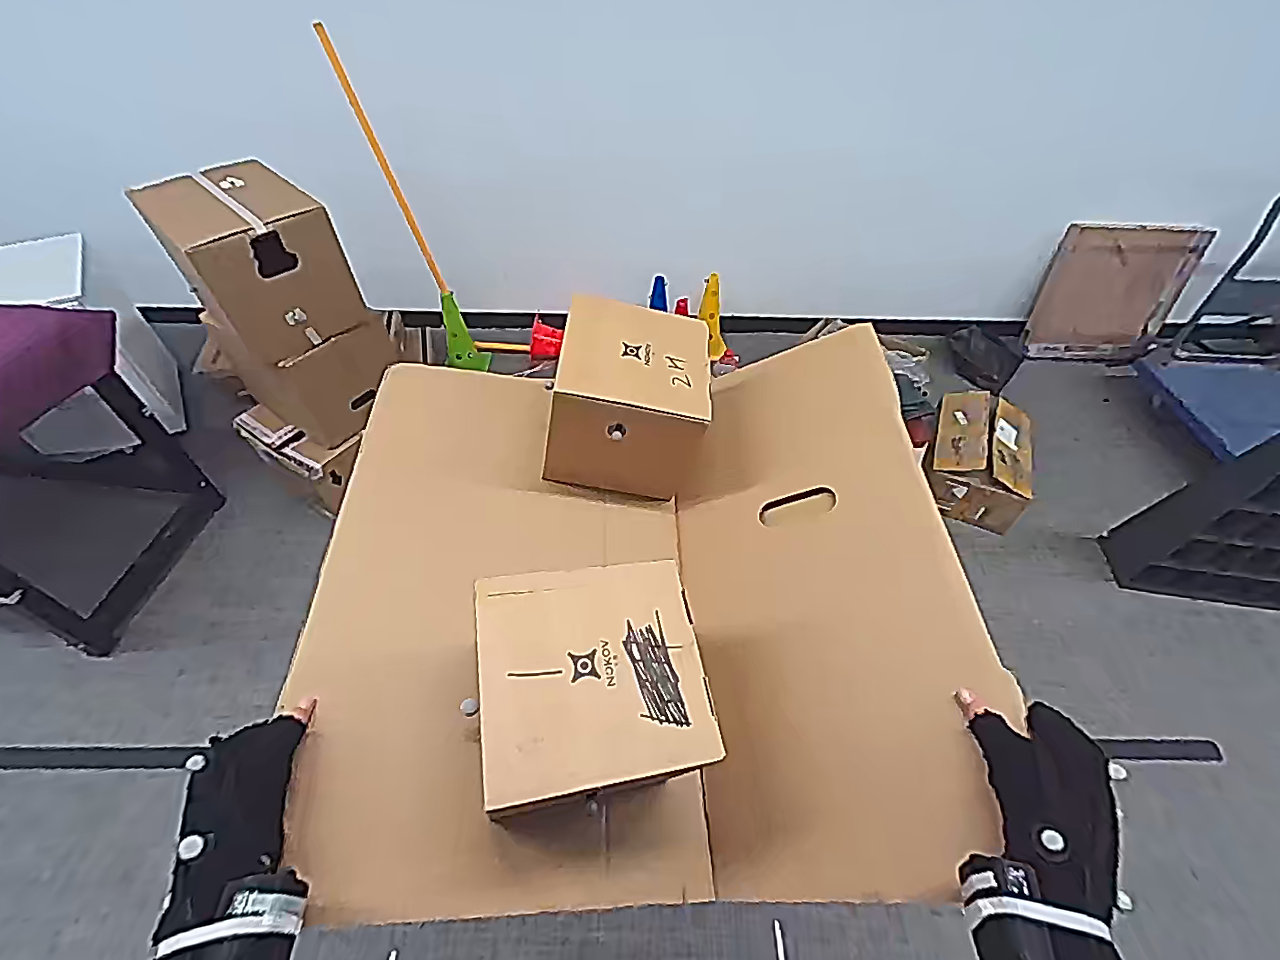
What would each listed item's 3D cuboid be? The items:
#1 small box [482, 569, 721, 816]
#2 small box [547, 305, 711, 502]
[{"bbox_3d":[-0.051,0.194,0.493,0.179,0.176,0.168,-3,58,-16],"label":"small box"},{"bbox_3d":[-0.018,-0.090,0.693,0.179,0.176,0.168,11,55,-9],"label":"small box"}]
